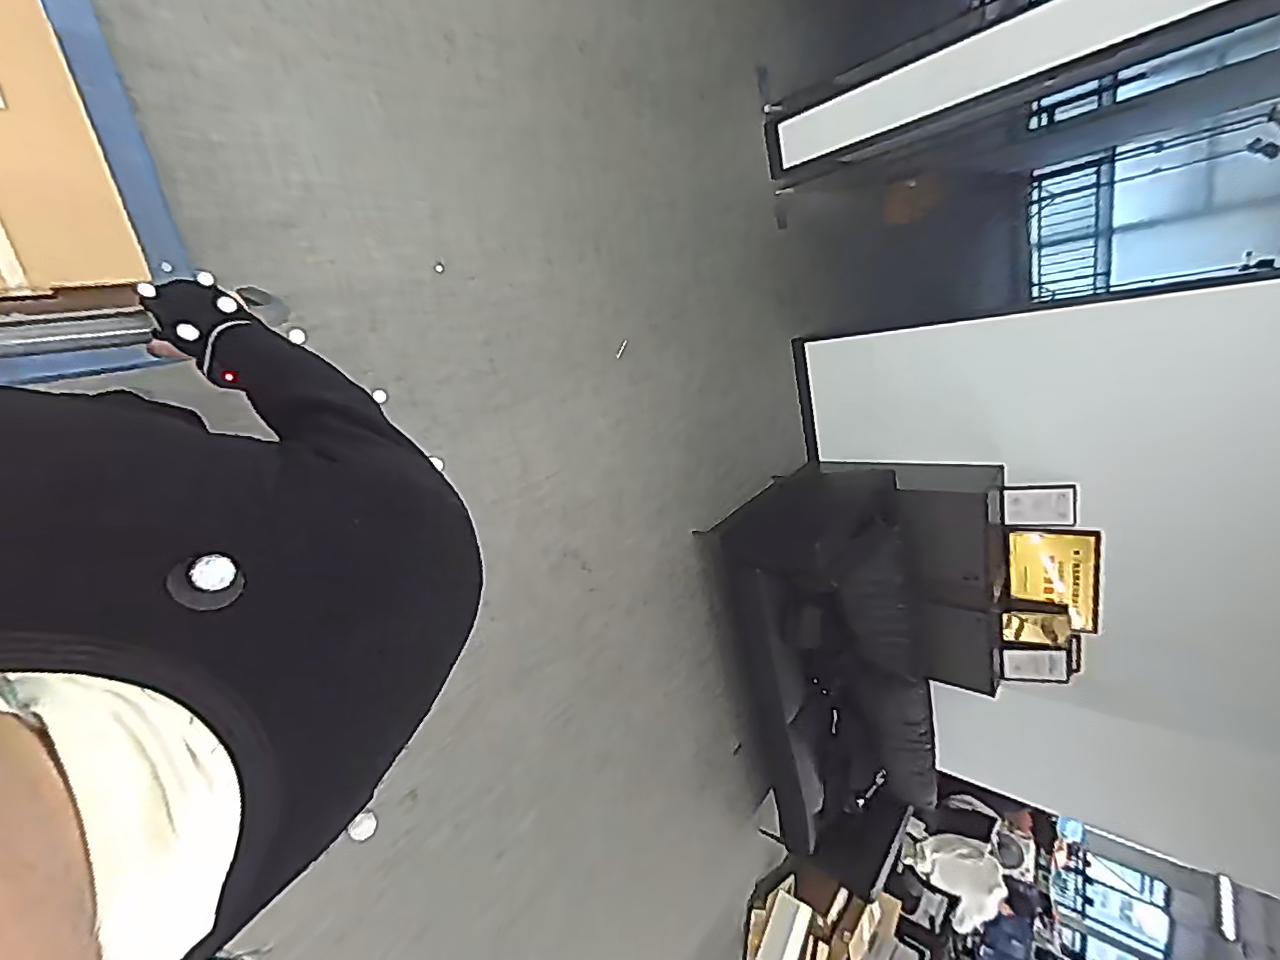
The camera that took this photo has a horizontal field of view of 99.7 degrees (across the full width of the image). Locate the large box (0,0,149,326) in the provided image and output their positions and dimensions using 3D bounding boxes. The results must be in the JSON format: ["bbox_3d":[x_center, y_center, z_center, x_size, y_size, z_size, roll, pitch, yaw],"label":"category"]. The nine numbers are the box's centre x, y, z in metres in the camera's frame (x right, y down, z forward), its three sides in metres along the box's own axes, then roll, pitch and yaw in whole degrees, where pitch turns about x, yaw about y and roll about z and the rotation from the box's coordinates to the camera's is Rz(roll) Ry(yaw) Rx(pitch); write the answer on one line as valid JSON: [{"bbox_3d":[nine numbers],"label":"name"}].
[{"bbox_3d":[-1.056,-0.471,0.845,0.320,0.320,0.408,-26,110,-43],"label":"large box"}]
